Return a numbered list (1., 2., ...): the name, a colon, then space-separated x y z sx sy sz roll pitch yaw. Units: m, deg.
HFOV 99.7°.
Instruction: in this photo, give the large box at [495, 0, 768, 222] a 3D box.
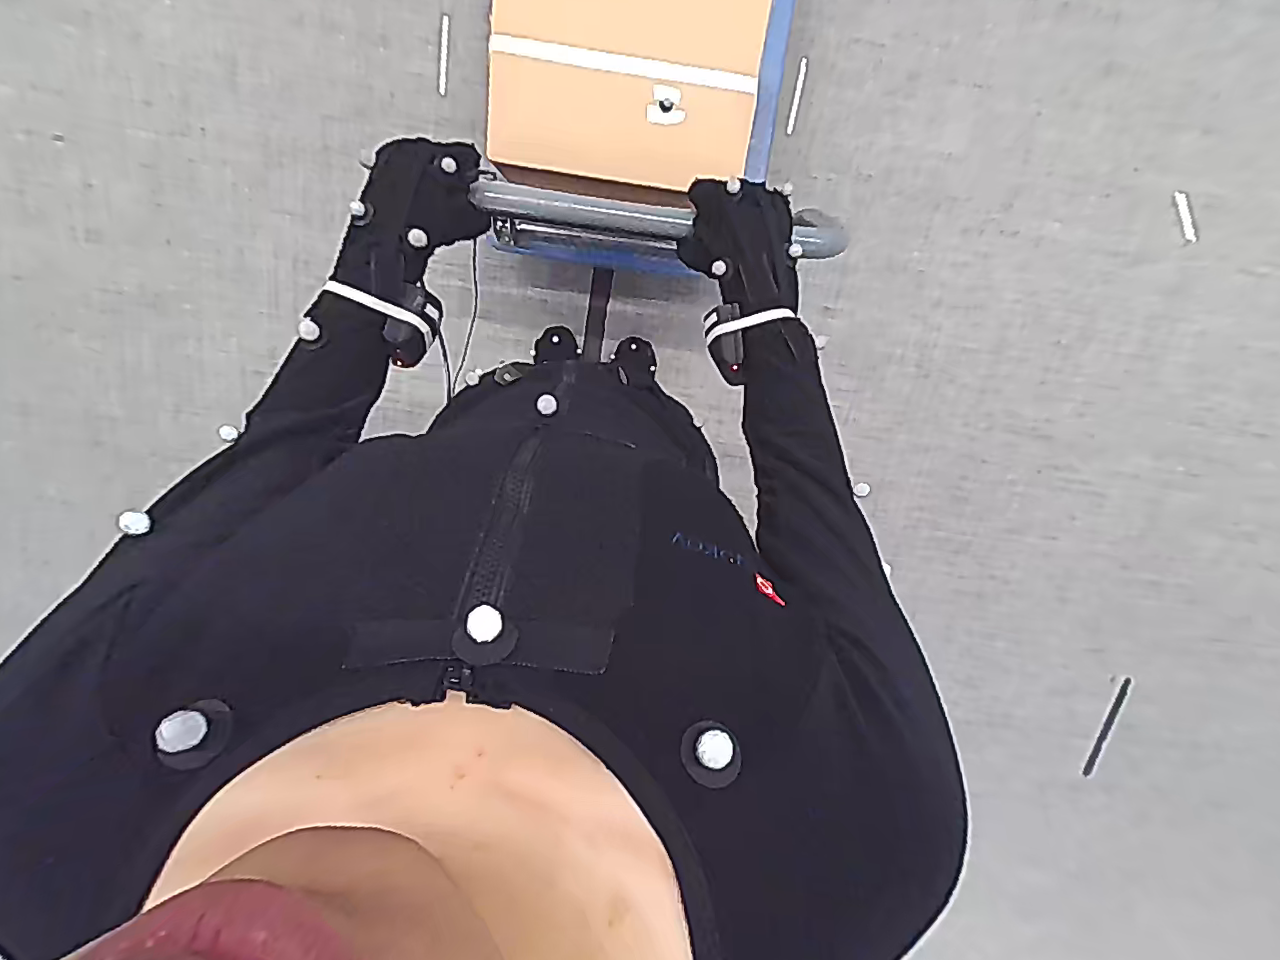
1. large box: -0.026 -0.677 0.968 0.408 0.320 0.320 6 107 -5
